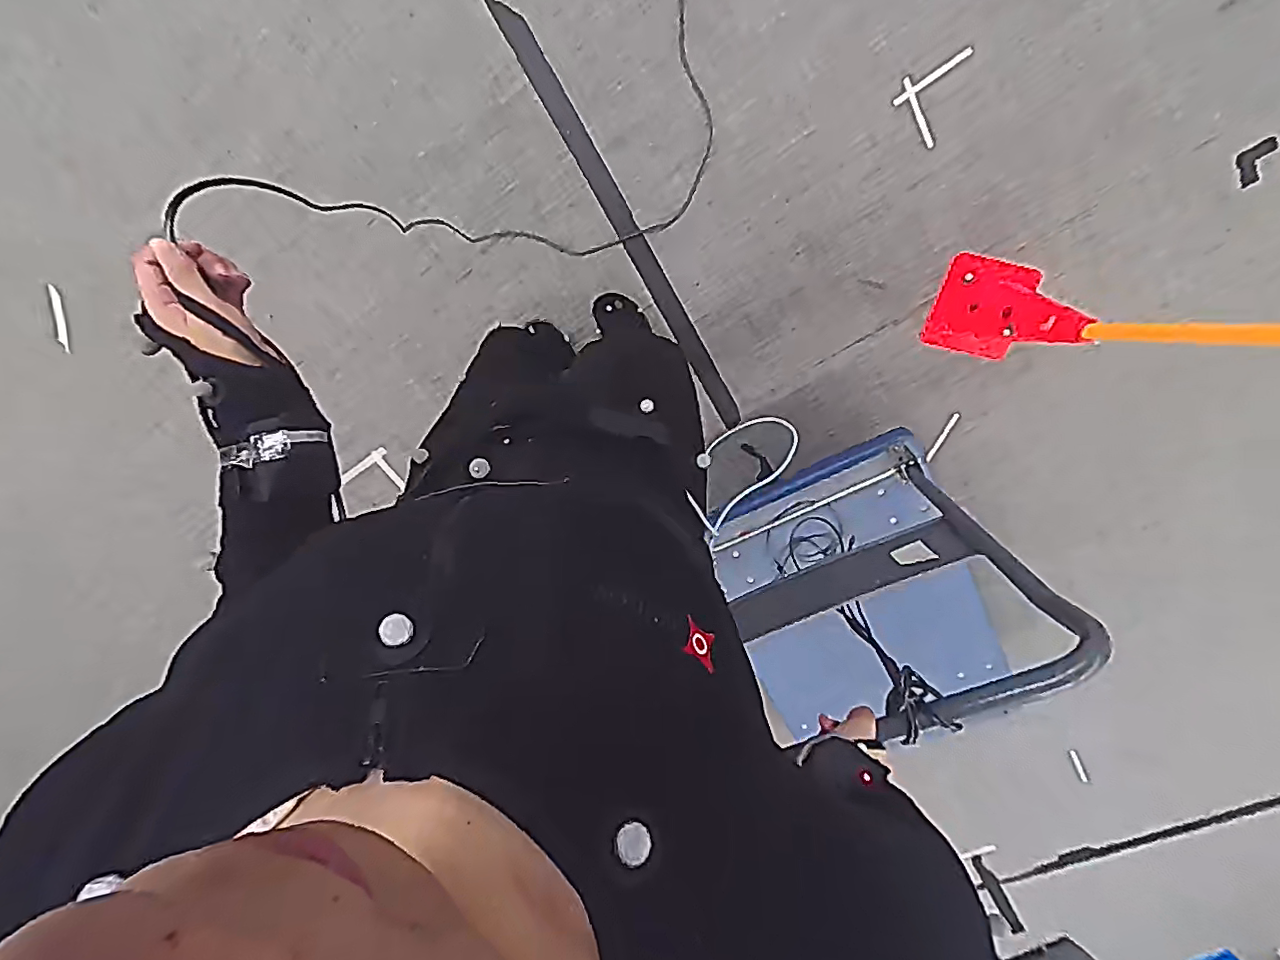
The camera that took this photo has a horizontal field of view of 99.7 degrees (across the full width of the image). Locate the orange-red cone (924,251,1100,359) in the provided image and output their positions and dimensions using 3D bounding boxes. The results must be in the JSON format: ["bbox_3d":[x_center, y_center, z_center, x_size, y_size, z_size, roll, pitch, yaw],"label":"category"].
[{"bbox_3d":[0.737,-0.310,1.029,0.198,0.360,0.199,14,115,-2],"label":"orange-red cone"}]
